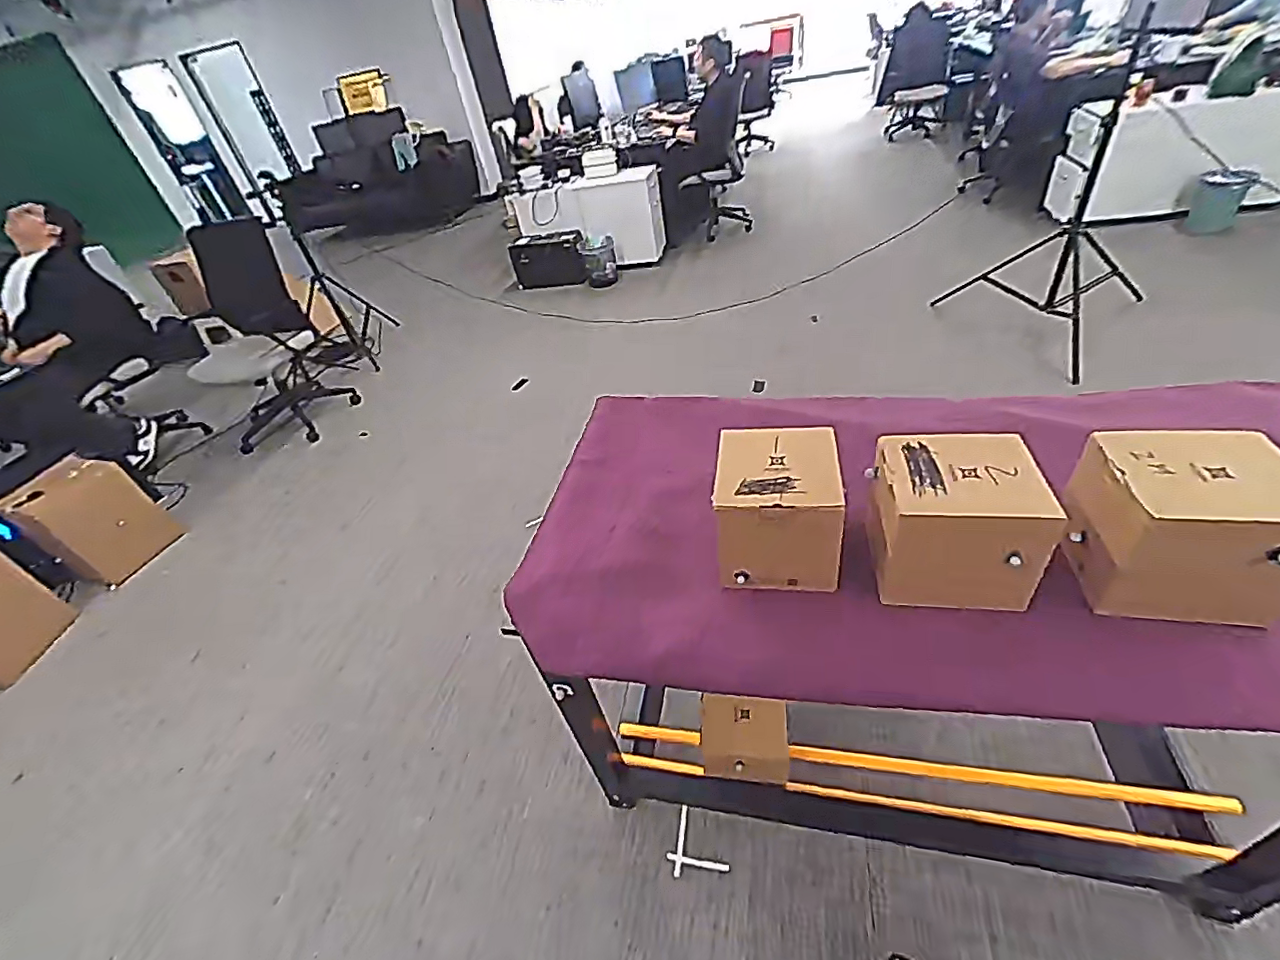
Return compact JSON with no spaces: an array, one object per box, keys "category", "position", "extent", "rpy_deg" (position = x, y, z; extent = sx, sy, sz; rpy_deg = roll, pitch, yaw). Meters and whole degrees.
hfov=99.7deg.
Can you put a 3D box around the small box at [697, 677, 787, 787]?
[{"category":"small box","position":[0.221,0.545,1.168],"extent":[0.179,0.176,0.168],"rpy_deg":[-3,42,12]}]
